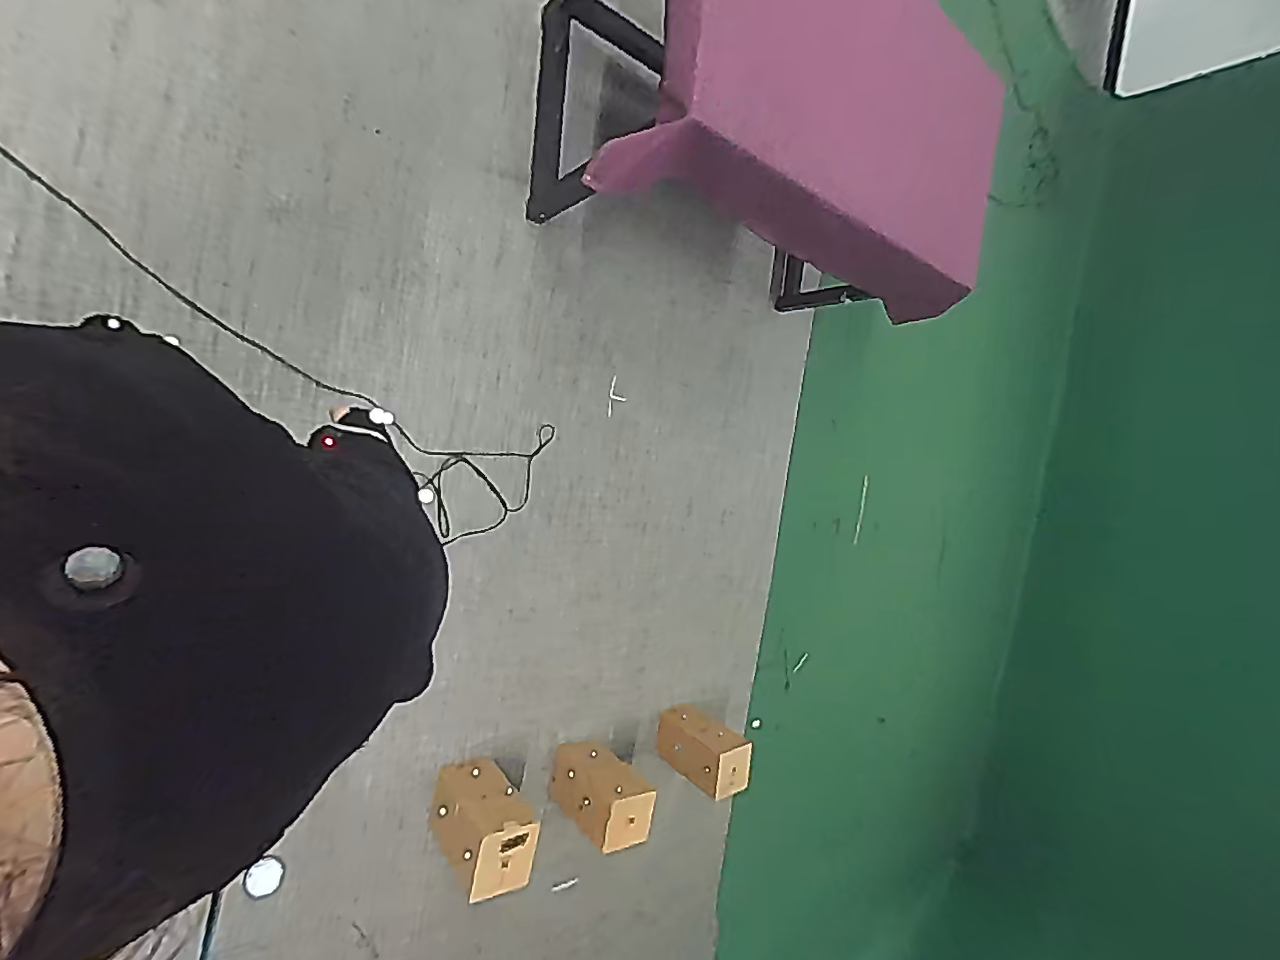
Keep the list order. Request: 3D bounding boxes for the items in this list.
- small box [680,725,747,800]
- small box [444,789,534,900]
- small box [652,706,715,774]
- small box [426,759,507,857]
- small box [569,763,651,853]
[{"bbox_3d":[0.265,1.020,1.977,0.168,0.176,0.179,4,95,-36],"label":"small box"},{"bbox_3d":[-0.410,0.962,1.453,0.168,0.176,0.179,12,91,-38],"label":"small box"},{"bbox_3d":[0.164,1.001,2.106,0.168,0.176,0.179,6,95,-37],"label":"small box"},{"bbox_3d":[-0.511,0.945,1.582,0.168,0.176,0.179,10,91,-38],"label":"small box"},{"bbox_3d":[-0.096,1.020,1.703,0.179,0.176,0.168,12,91,-38],"label":"small box"}]
